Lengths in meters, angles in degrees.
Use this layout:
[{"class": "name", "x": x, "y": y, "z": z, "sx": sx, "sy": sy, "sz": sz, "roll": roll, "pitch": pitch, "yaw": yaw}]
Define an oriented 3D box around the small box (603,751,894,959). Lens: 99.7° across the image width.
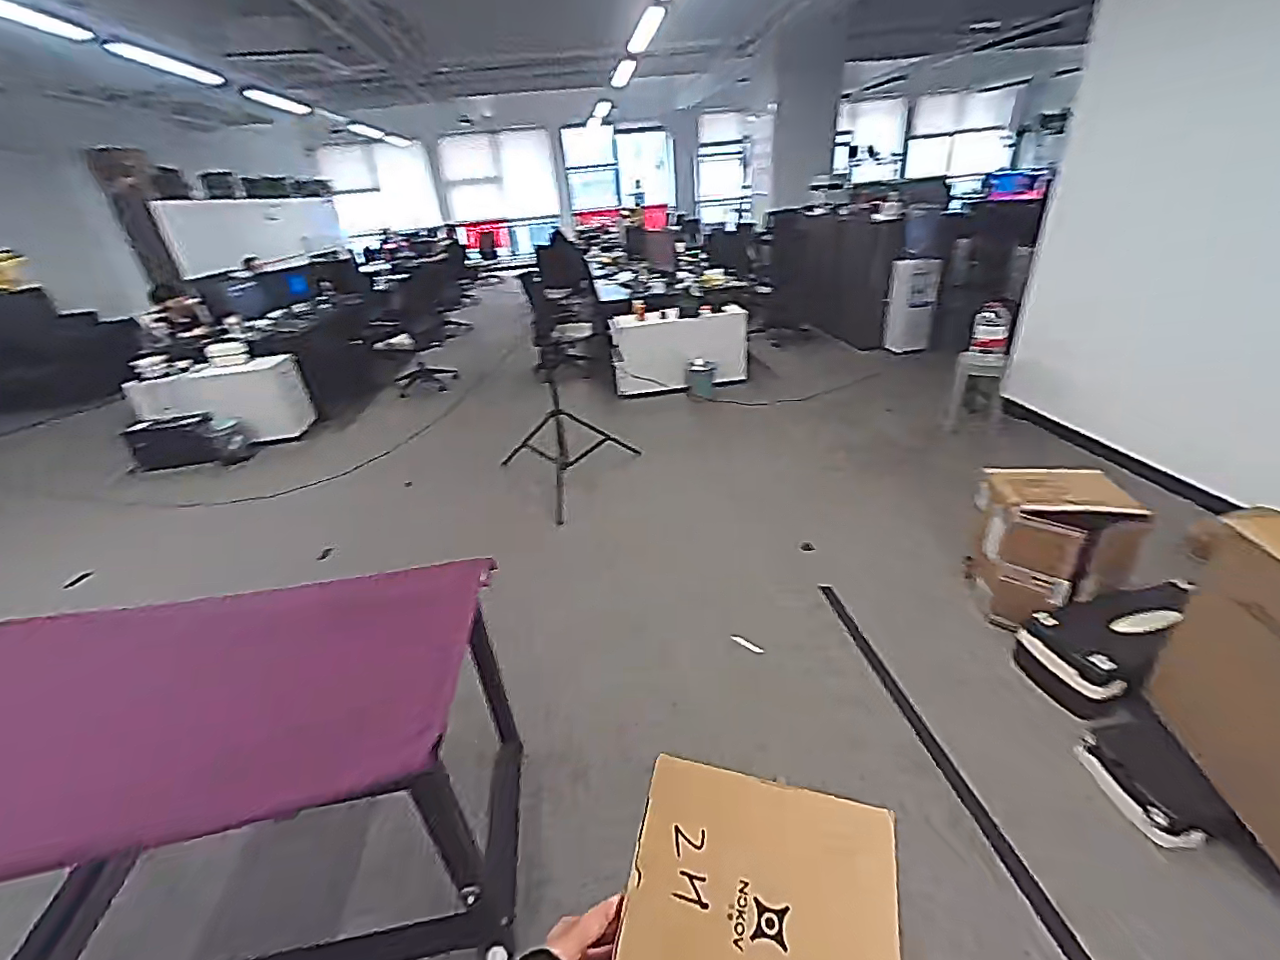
[{"class": "small box", "x": 0.079, "y": 0.334, "z": 0.408, "sx": 0.179, "sy": 0.176, "sz": 0.168, "roll": 6, "pitch": 48, "yaw": 14}]
